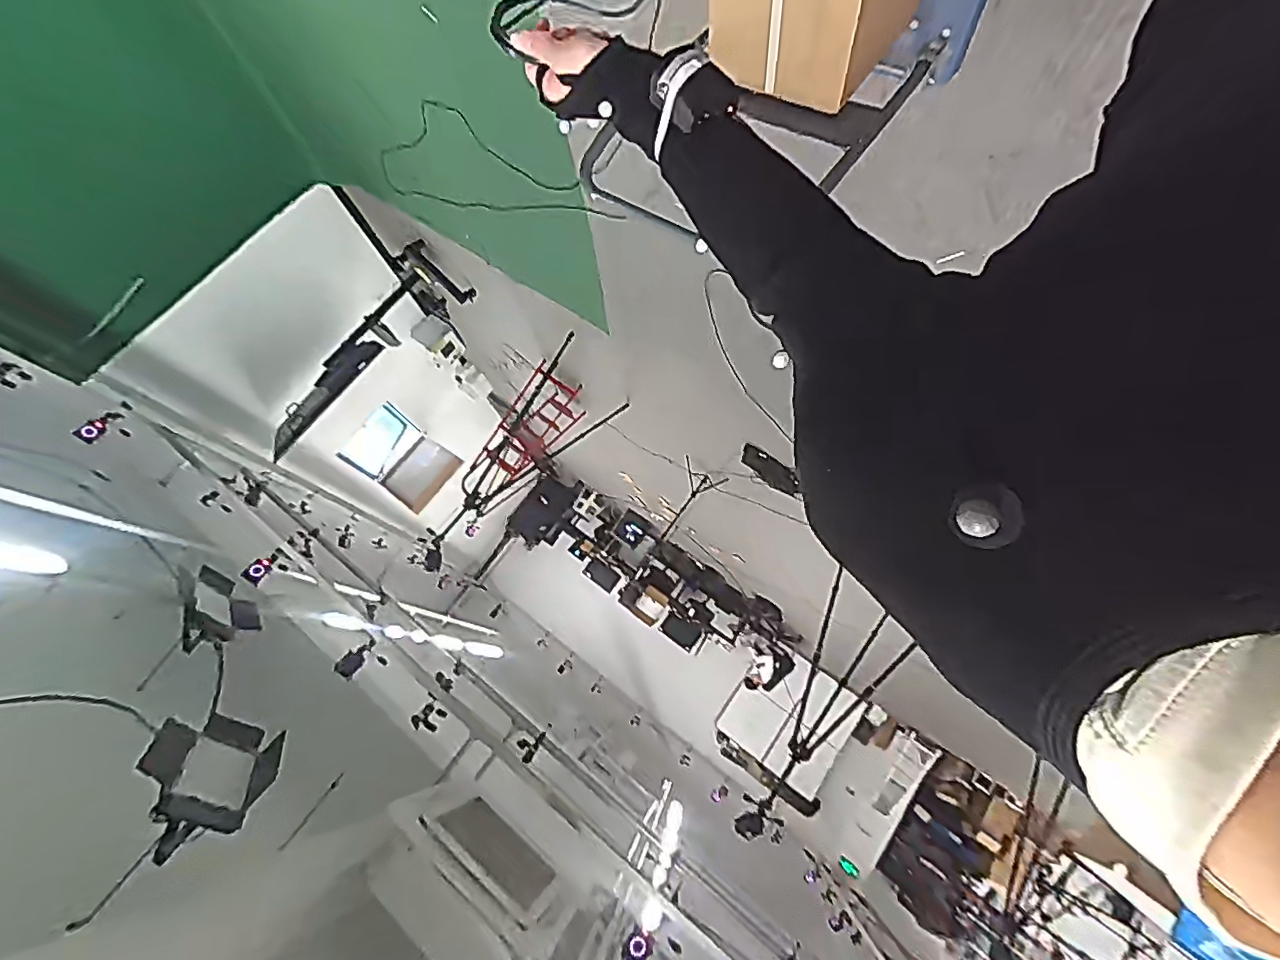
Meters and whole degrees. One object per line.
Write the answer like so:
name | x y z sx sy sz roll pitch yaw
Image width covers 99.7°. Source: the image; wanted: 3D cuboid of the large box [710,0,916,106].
large box | 0.339 -1.009 0.980 0.320 0.320 0.408 33 165 18
